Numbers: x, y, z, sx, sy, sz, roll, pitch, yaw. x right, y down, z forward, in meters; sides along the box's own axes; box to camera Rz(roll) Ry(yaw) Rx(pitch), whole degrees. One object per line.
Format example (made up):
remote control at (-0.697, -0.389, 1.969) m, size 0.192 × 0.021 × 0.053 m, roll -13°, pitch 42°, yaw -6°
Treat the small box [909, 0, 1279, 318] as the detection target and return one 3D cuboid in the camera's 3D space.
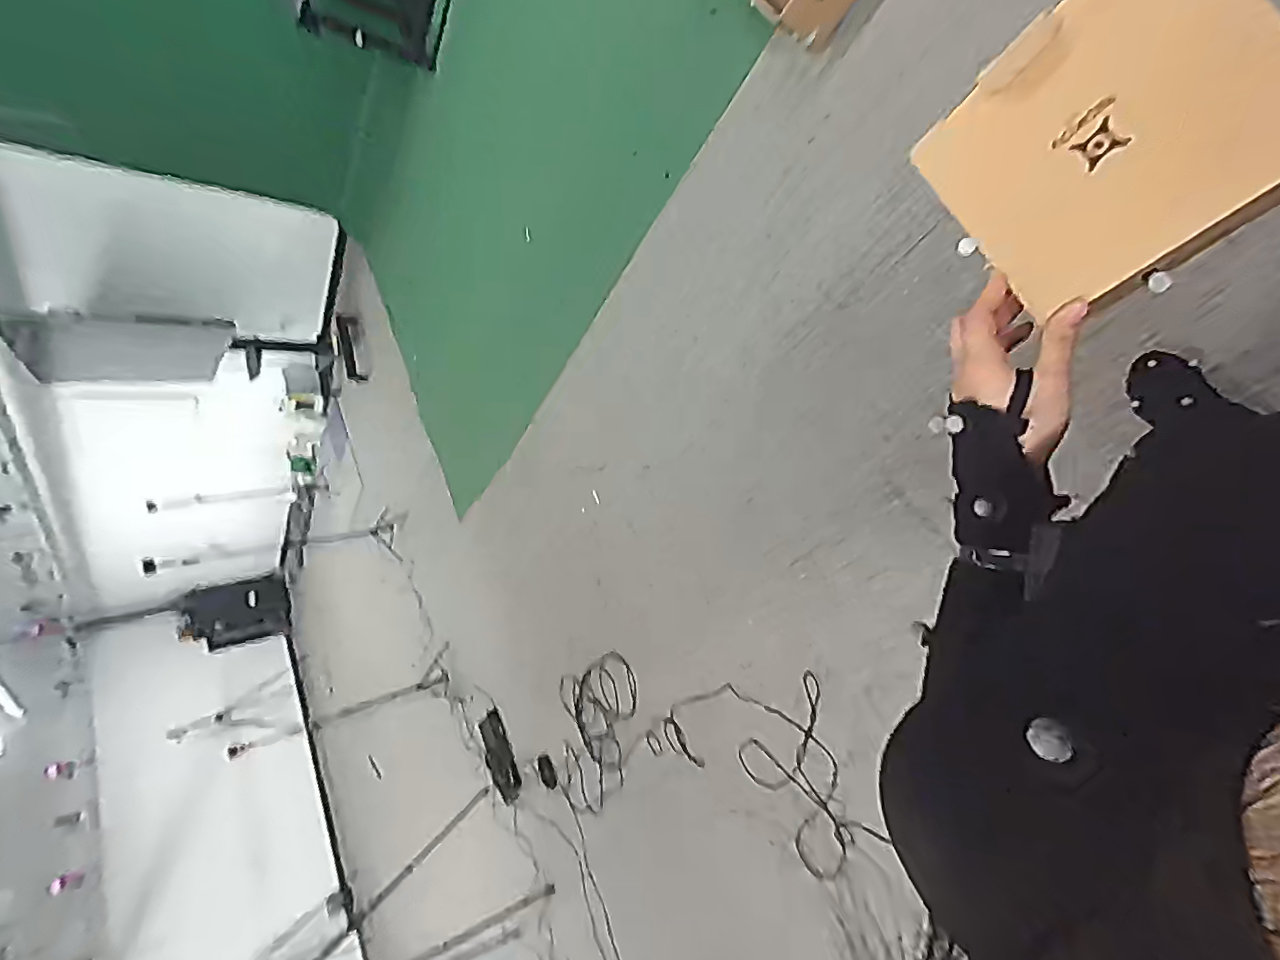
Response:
small box at (0.347, -0.243, 0.400) m, size 0.168 × 0.176 × 0.179 m, roll -40°, pitch 72°, yaw 44°
